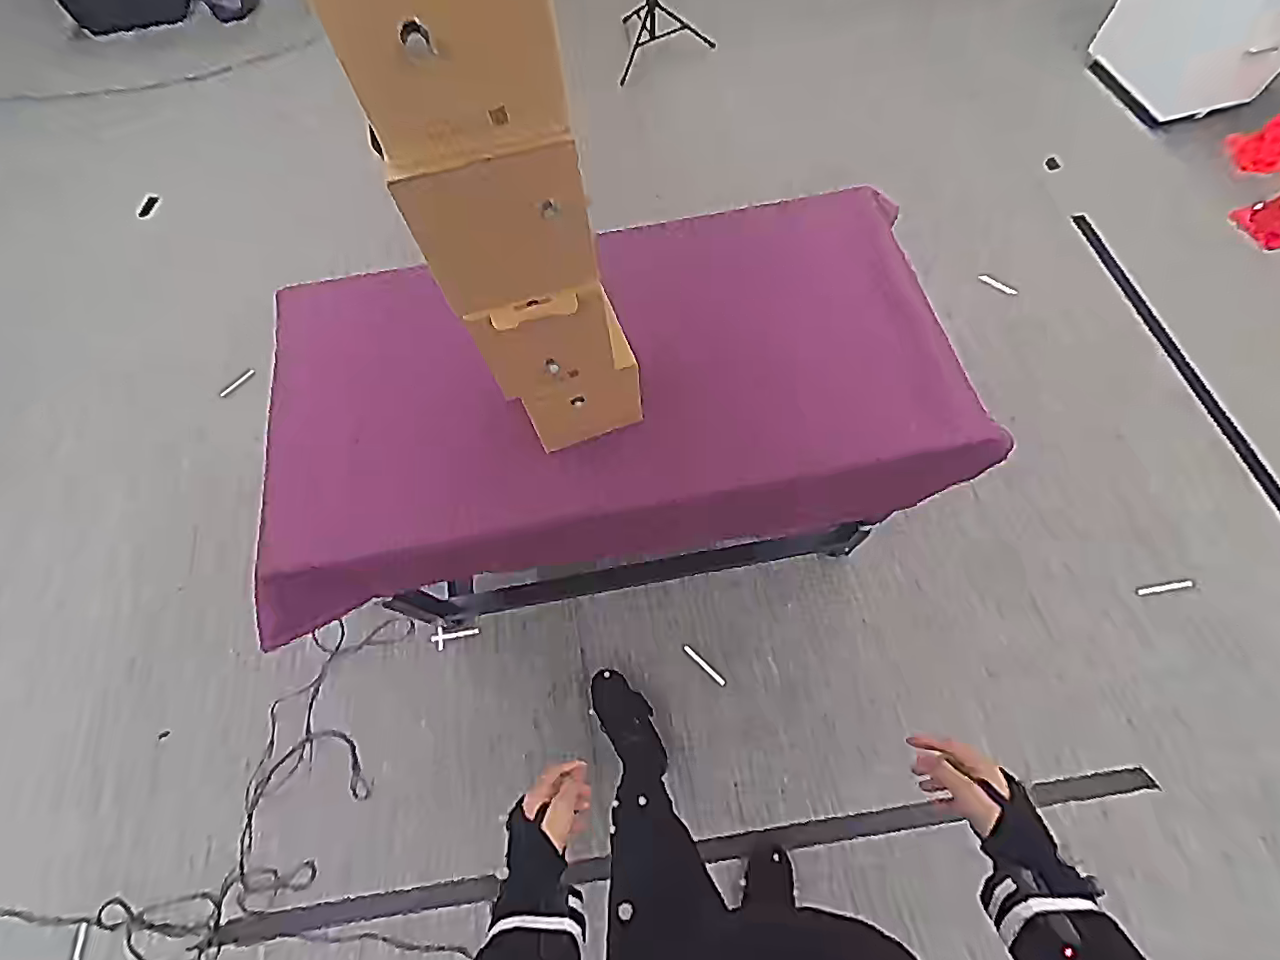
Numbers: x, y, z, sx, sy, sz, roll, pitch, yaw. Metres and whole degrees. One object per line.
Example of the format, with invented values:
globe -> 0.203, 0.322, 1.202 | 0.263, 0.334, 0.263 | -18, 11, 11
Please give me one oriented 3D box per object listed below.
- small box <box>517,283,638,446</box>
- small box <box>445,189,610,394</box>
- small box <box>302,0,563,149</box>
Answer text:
small box -> -0.112, -0.178, 0.875 | 0.179, 0.176, 0.168 | -20, 67, -6
small box -> -0.144, -0.246, 0.727 | 0.168, 0.176, 0.179 | -16, 66, -2
small box -> -0.169, -0.401, 0.439 | 0.168, 0.176, 0.179 | -15, 65, -3
